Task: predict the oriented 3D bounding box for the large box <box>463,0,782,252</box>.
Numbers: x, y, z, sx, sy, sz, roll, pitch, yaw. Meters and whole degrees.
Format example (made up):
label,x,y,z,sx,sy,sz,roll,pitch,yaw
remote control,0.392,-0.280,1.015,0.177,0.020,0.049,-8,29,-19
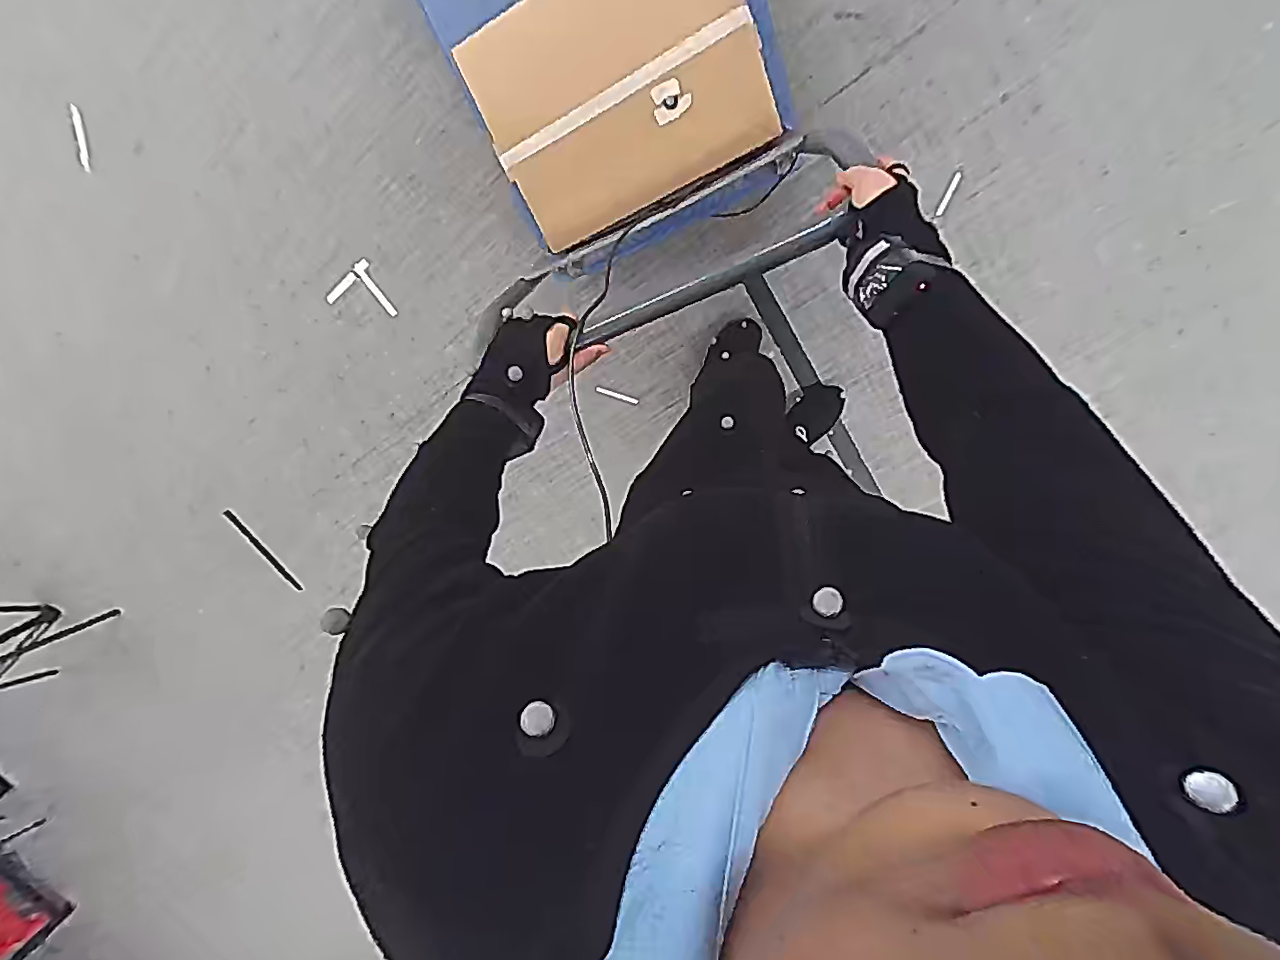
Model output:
label,x,y,z,sx,sy,sz,roll,pitch,yaw
large box,-0.014,-0.649,0.940,0.408,0.320,0.320,-21,115,16
